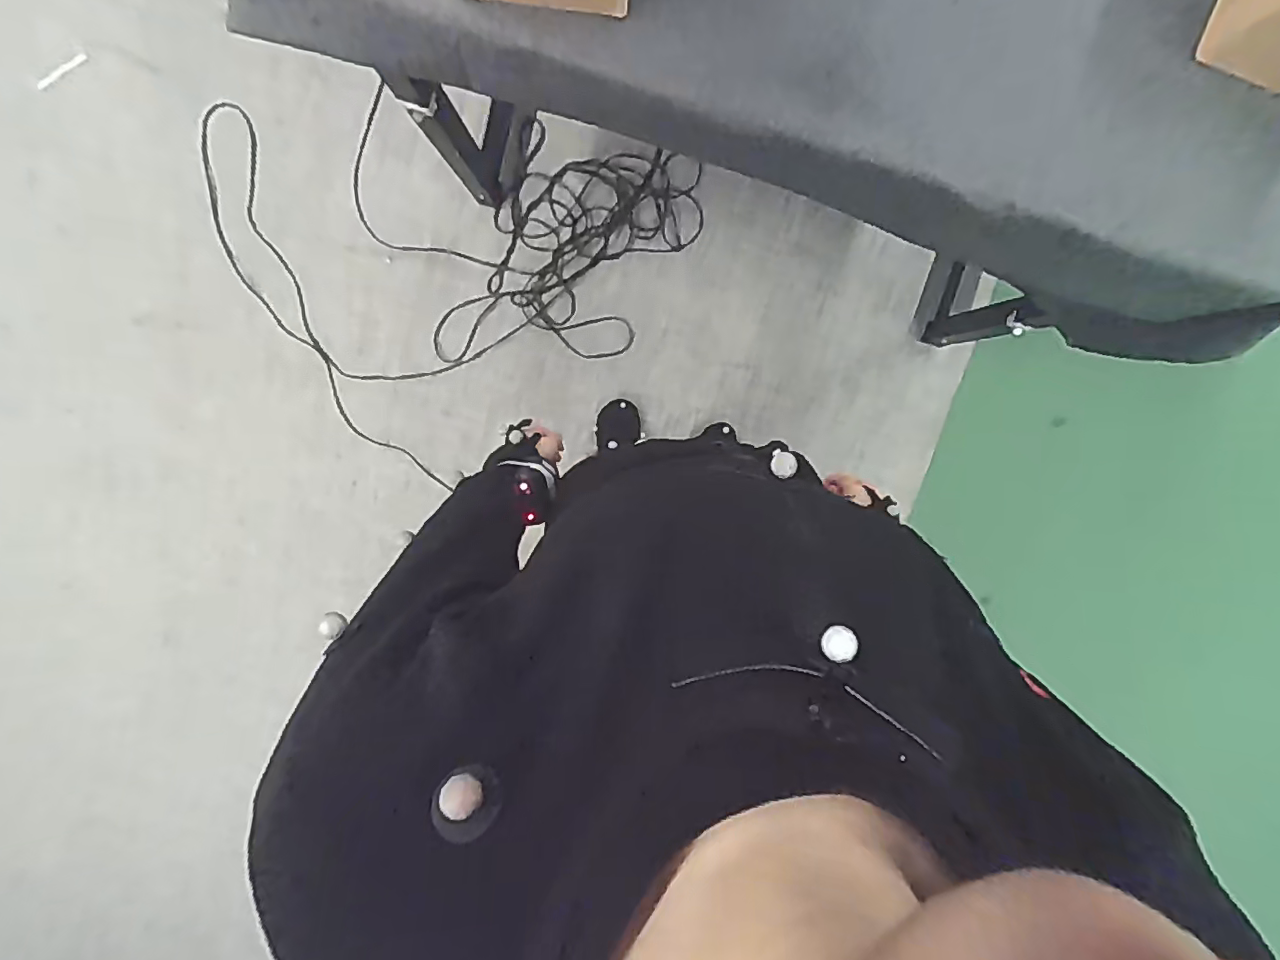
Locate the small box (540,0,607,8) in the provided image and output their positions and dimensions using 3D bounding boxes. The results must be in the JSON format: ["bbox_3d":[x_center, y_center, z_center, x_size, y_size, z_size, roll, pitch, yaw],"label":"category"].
[{"bbox_3d":[-0.089,-0.559,0.465,0.179,0.176,0.168,6,97,-2],"label":"small box"}]
